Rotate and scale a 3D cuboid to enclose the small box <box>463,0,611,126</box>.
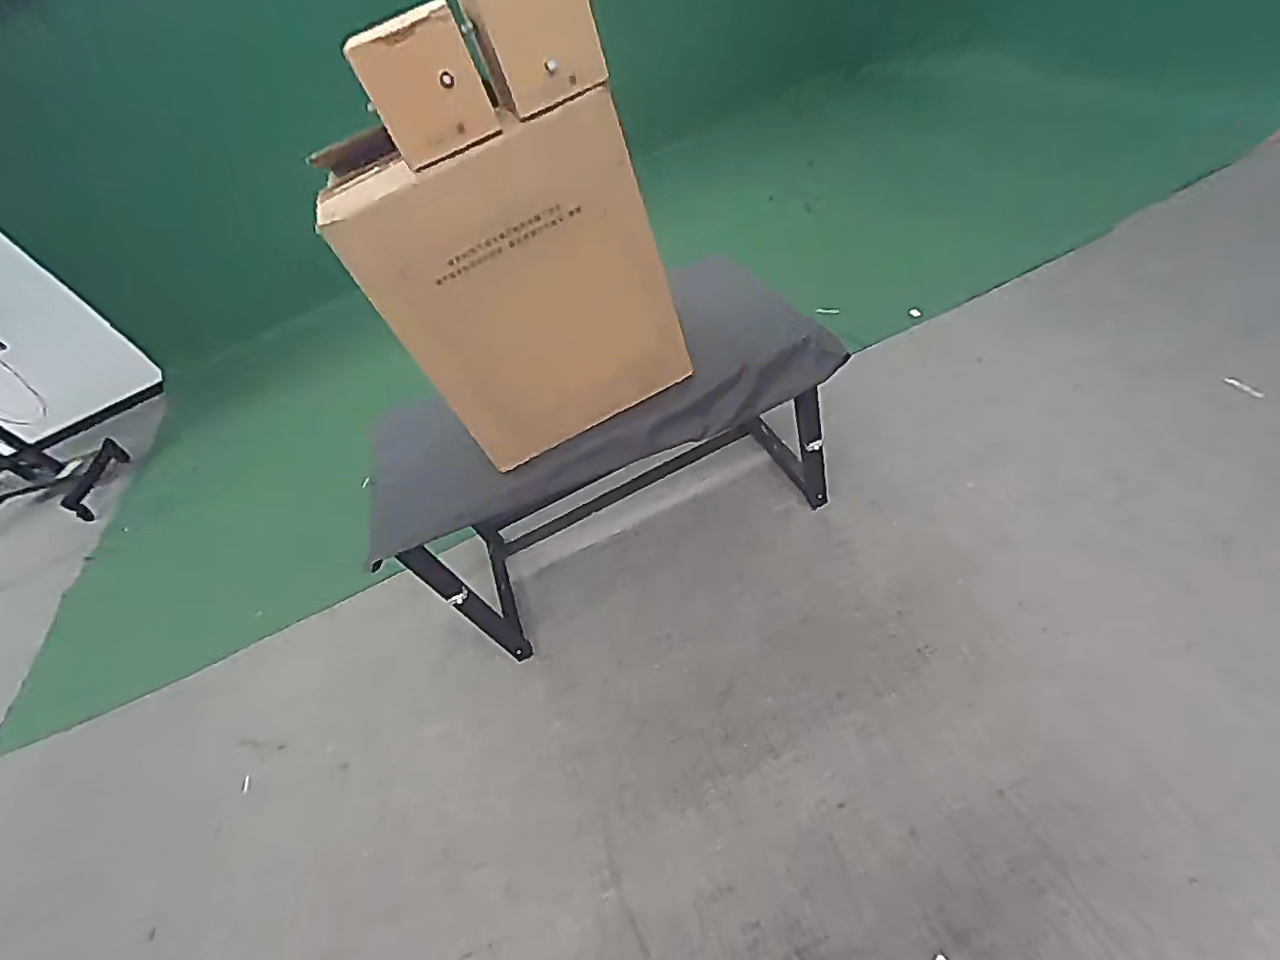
[{"bbox_3d":[-0.168,-0.718,0.897,0.168,0.176,0.179,-28,47,-4],"label":"small box"}]
